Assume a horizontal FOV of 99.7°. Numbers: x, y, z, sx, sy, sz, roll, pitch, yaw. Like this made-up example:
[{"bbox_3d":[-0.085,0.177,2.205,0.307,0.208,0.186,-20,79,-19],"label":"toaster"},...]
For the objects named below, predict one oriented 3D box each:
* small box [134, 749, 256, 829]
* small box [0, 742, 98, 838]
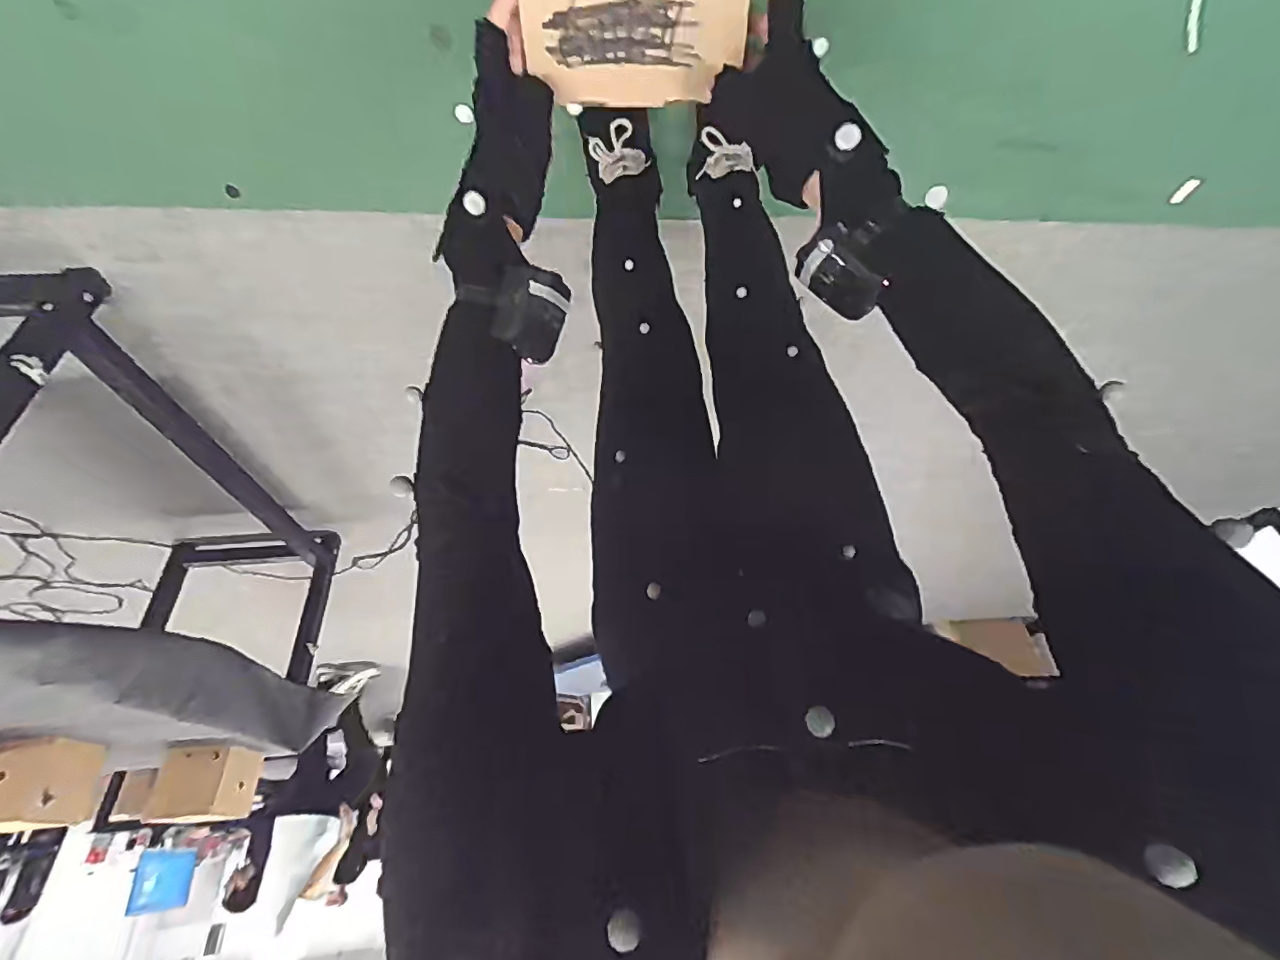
[{"bbox_3d":[-1.177,0.822,1.446,0.168,0.176,0.179,-2,147,-5],"label":"small box"},{"bbox_3d":[-1.399,0.694,1.214,0.168,0.176,0.179,-2,146,-7],"label":"small box"}]
